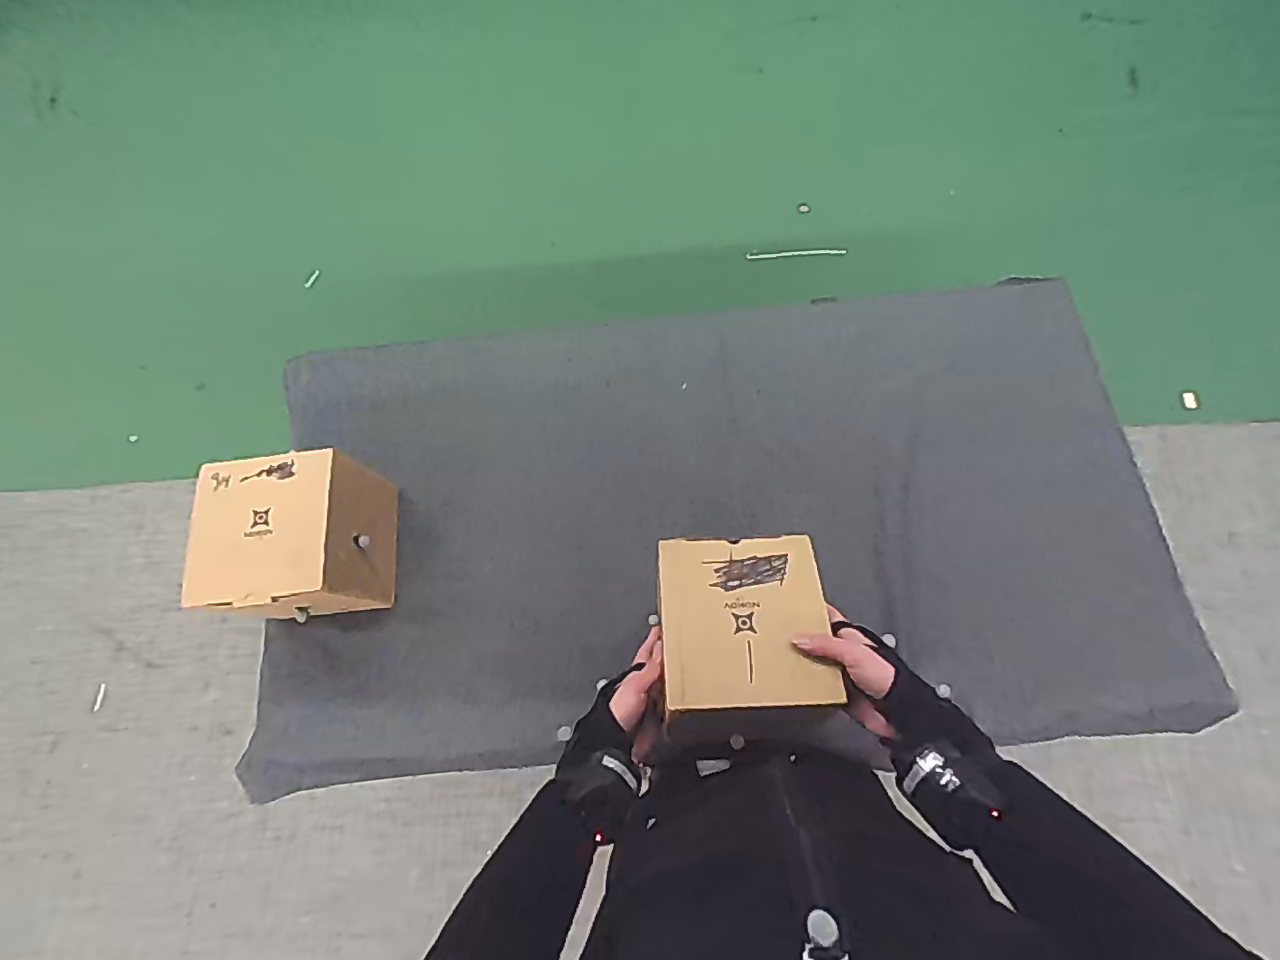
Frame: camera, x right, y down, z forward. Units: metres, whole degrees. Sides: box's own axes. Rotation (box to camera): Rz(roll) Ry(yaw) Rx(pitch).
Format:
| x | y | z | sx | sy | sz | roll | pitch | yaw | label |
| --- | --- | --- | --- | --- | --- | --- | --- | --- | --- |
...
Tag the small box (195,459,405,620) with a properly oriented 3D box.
| x | y | z | sx | sy | sz | roll | pitch | yaw | label |
| --- | --- | --- | --- | --- | --- | --- | --- | --- | --- |
| -0.425 | 0.087 | 0.707 | 0.168 | 0.176 | 0.179 | -6 | 72 | 0 | small box |
